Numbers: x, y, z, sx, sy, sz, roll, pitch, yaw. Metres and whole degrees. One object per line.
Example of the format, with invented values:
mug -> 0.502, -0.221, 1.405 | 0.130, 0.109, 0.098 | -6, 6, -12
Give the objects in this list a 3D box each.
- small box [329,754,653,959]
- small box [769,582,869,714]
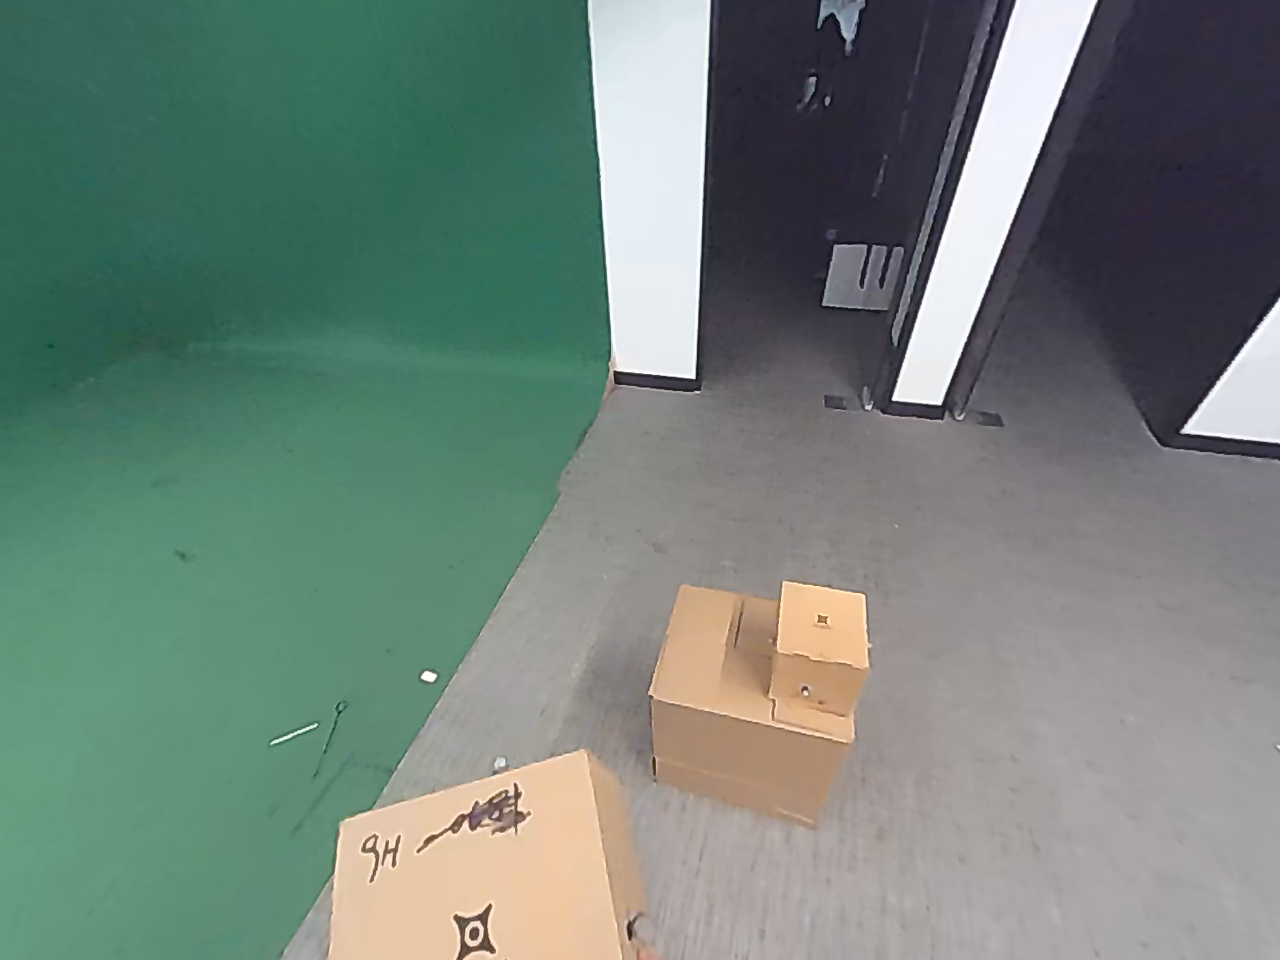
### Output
small box -> -0.087, 0.312, 0.372 | 0.168, 0.176, 0.179 | -15, 56, -4
small box -> 0.358, 0.339, 1.096 | 0.168, 0.176, 0.179 | 7, 41, 14
